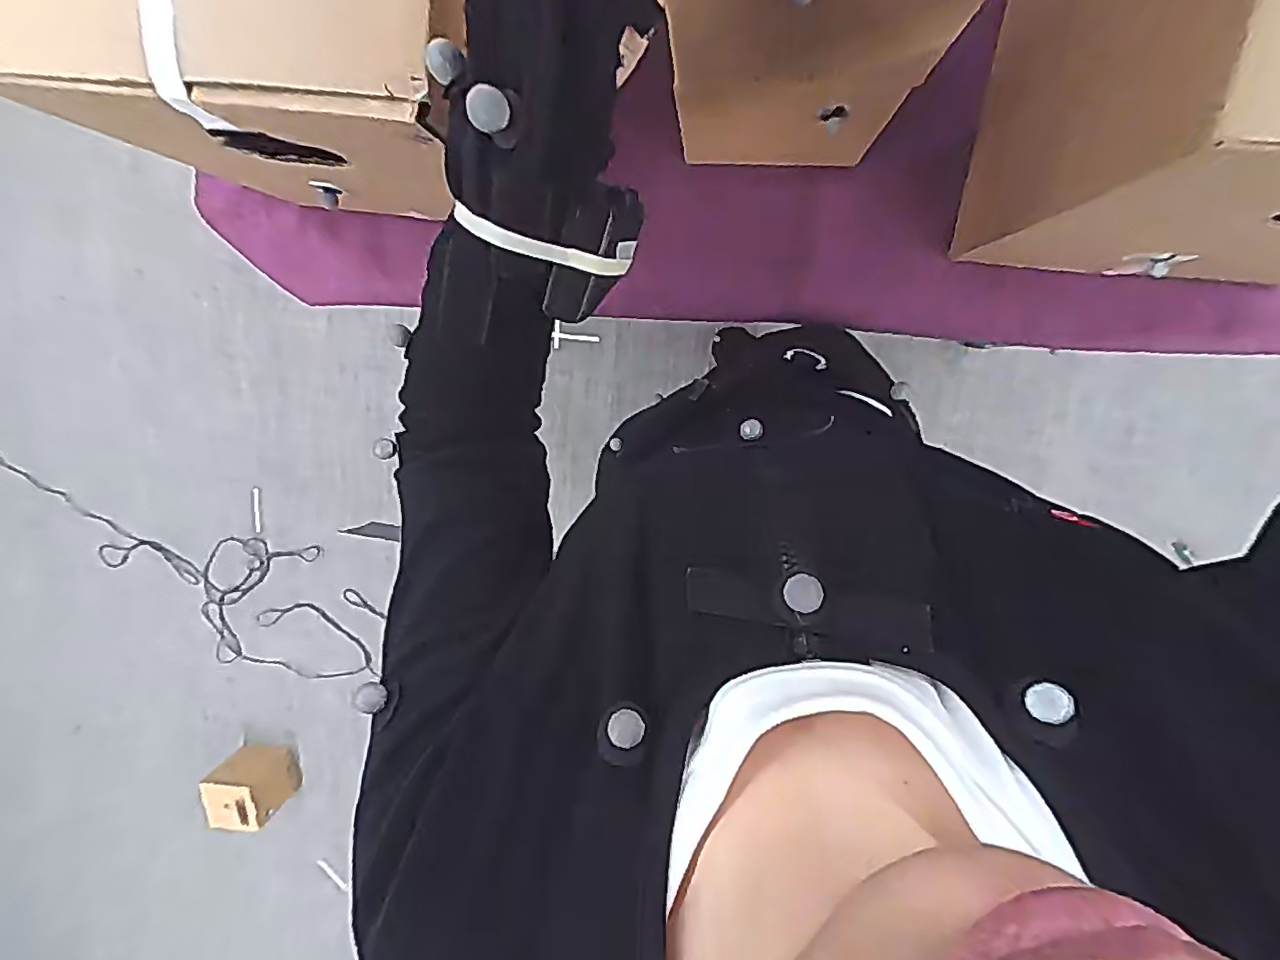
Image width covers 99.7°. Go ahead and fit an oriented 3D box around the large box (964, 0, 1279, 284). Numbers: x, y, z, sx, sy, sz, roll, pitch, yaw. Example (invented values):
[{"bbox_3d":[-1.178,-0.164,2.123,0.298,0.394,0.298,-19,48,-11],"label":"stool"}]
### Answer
[{"bbox_3d":[0.461,-0.358,0.338,0.320,0.320,0.408,7,102,6],"label":"large box"}]
